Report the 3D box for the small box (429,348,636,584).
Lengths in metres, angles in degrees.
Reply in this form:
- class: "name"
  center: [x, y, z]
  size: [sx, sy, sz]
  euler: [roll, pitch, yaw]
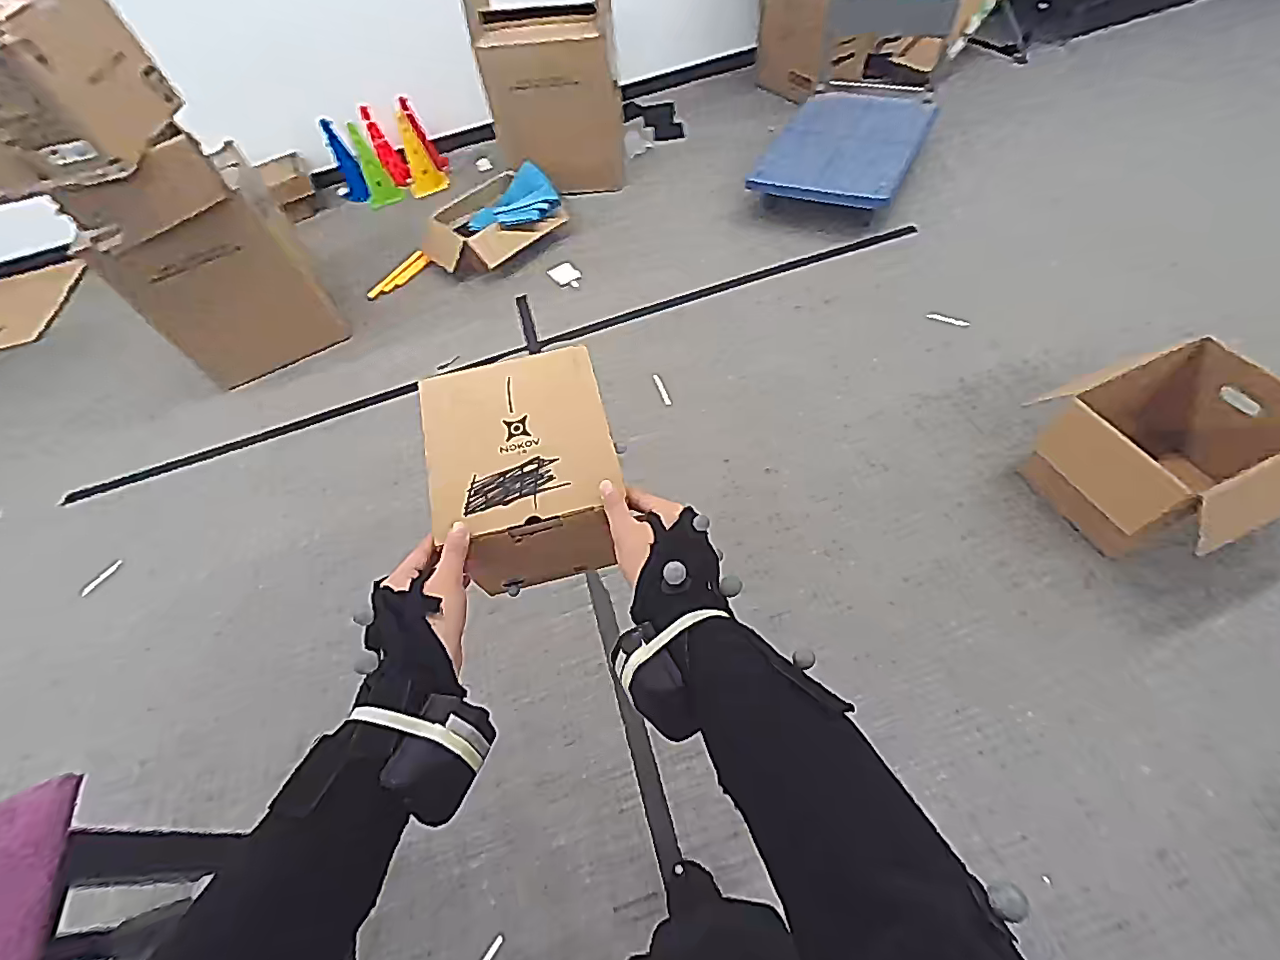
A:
- class: "small box"
  center: [-0.102, -0.002, 0.562]
  size: [0.168, 0.176, 0.179]
  euler: [-13, 63, -5]
